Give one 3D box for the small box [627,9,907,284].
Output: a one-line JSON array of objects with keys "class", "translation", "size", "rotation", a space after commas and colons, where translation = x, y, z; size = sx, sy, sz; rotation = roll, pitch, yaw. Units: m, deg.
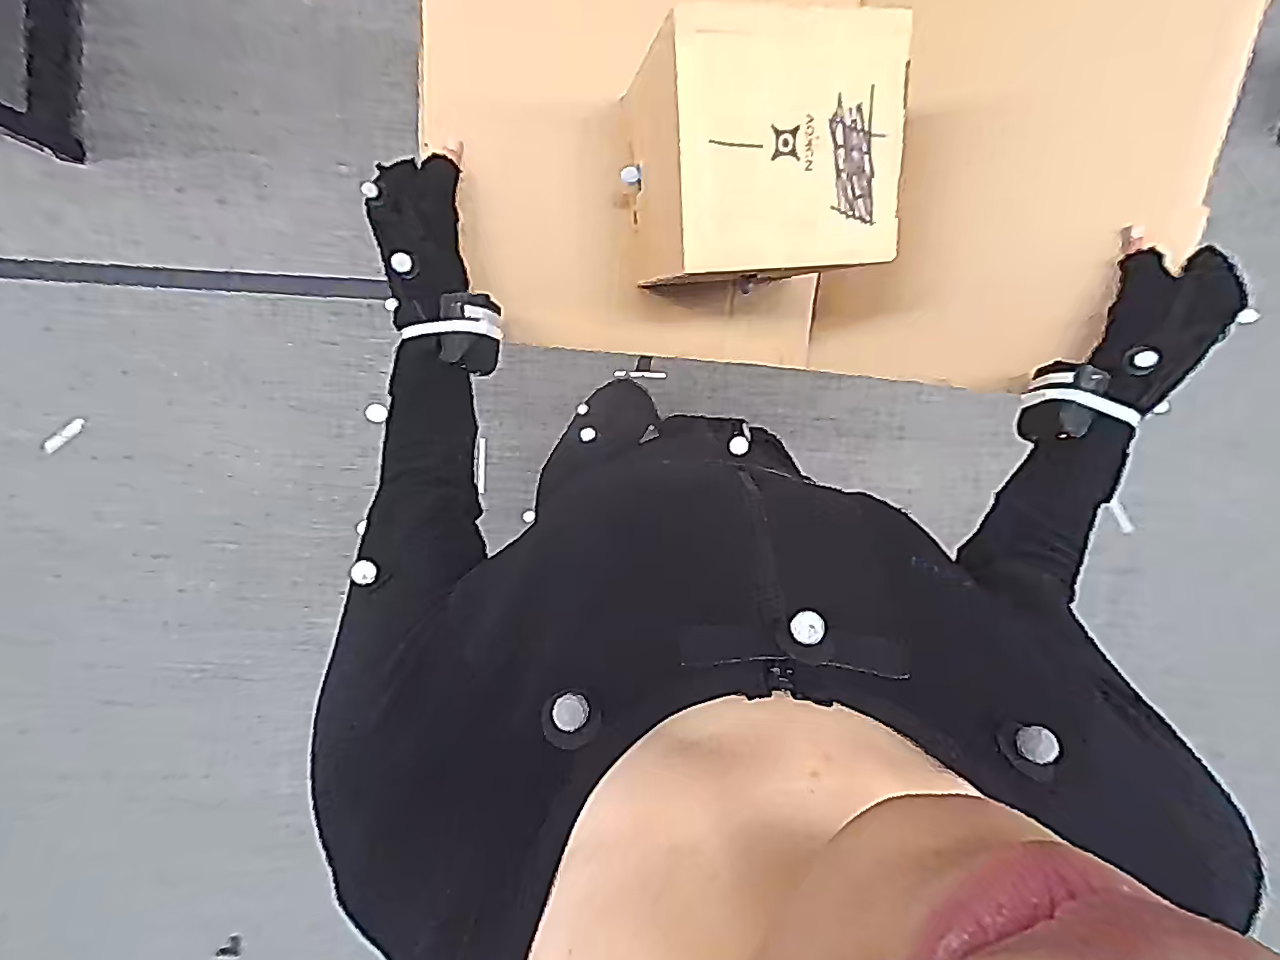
[{"class": "small box", "translation": [0.093, -0.263, 0.470], "size": [0.179, 0.176, 0.168], "rotation": [-7, 108, -11]}]
